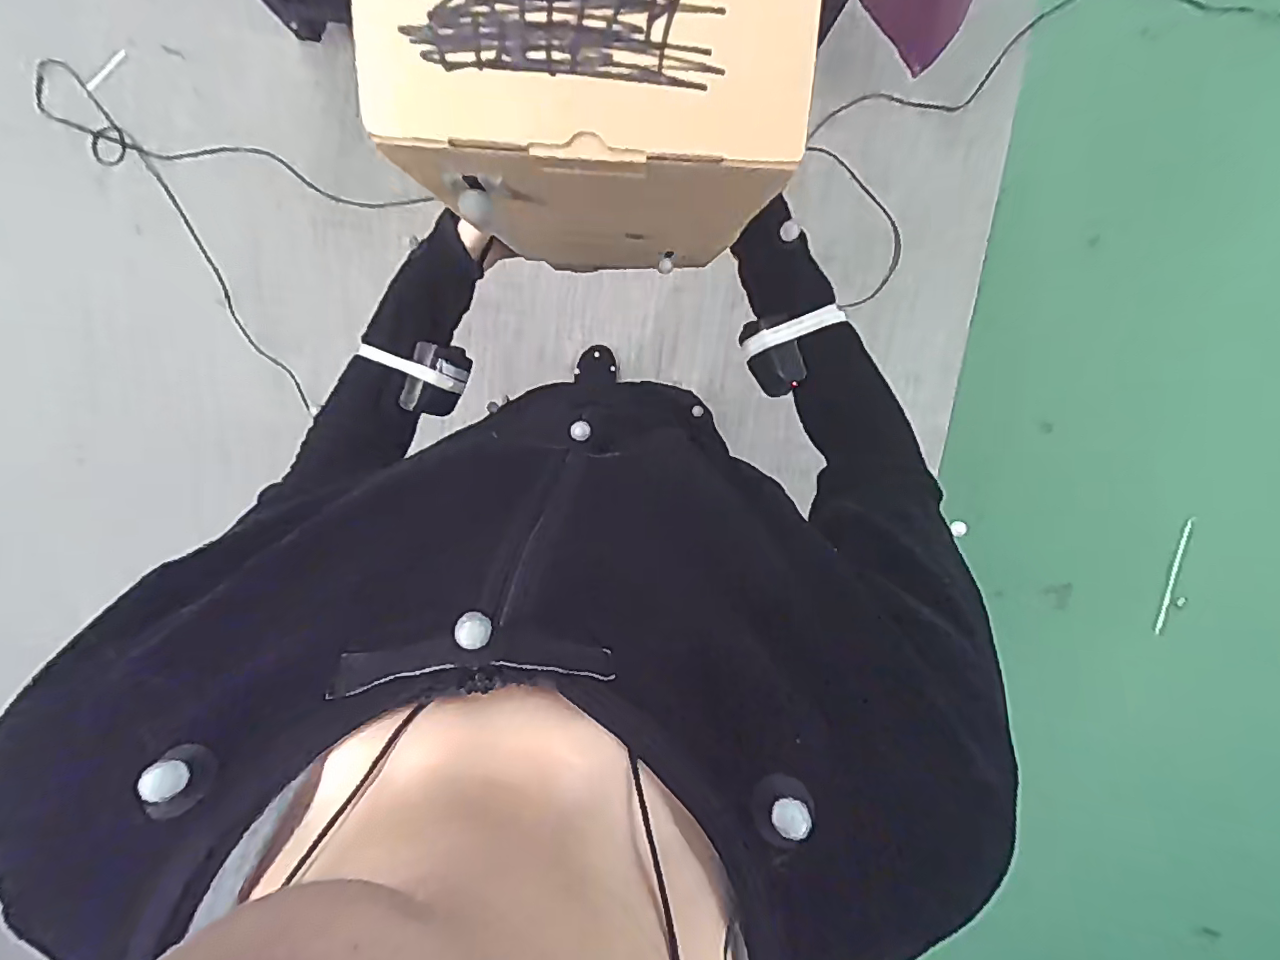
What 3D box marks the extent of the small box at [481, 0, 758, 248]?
[{"bbox_3d":[-0.017,-0.285,0.423,0.179,0.176,0.168,2,104,-2],"label":"small box"}]
